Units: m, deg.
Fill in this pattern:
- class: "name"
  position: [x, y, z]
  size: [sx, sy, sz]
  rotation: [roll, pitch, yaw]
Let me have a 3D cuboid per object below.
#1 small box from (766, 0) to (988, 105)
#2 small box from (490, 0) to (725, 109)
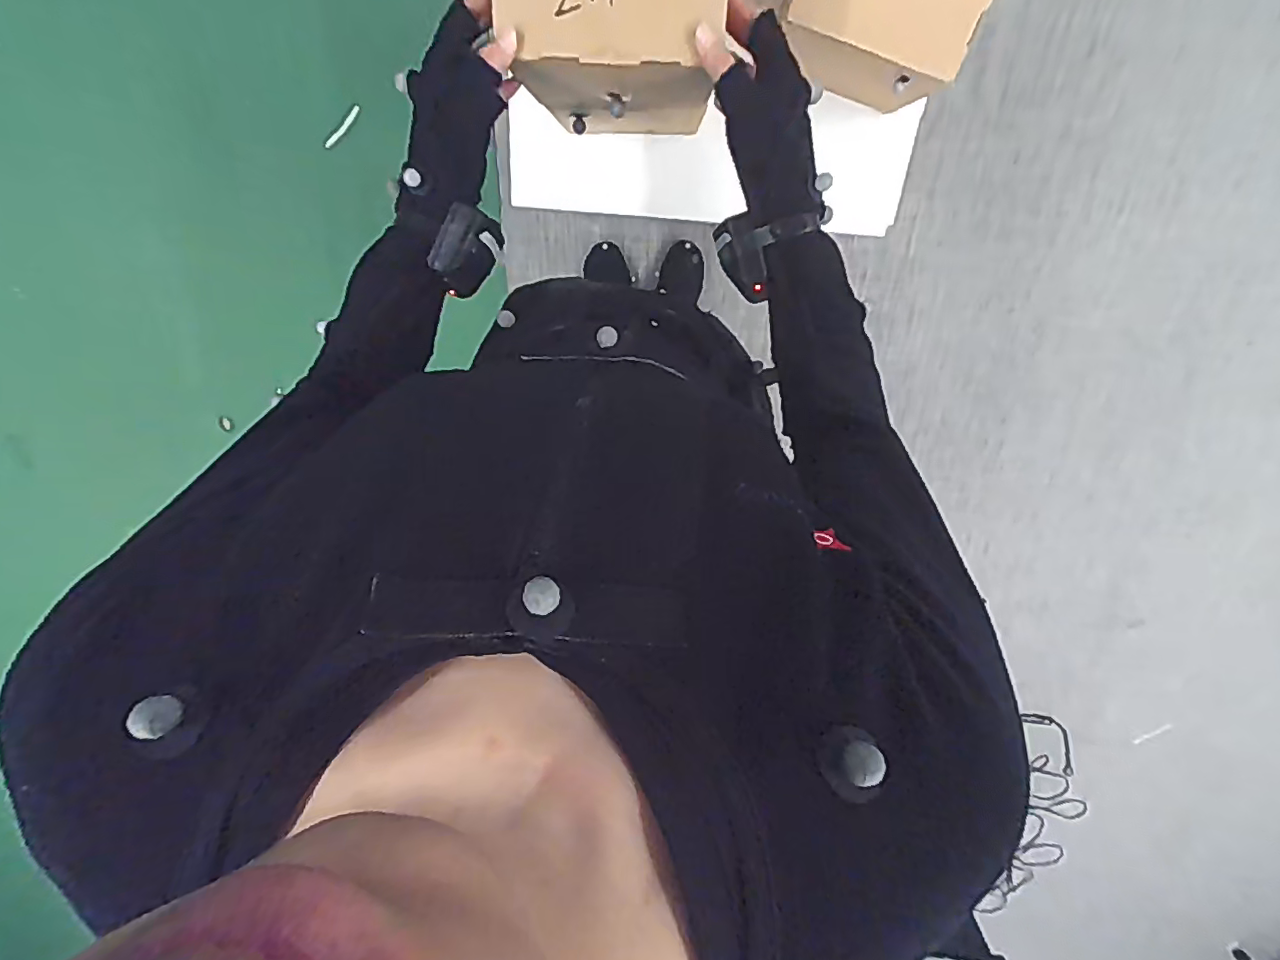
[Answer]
- class: "small box"
  position: [0.245, -0.513, 0.552]
  size: [0.179, 0.176, 0.168]
  rotation: [16, 115, -5]
- class: "small box"
  position: [-0.018, -0.417, 0.424]
  size: [0.168, 0.176, 0.179]
  rotation: [3, 115, 0]
